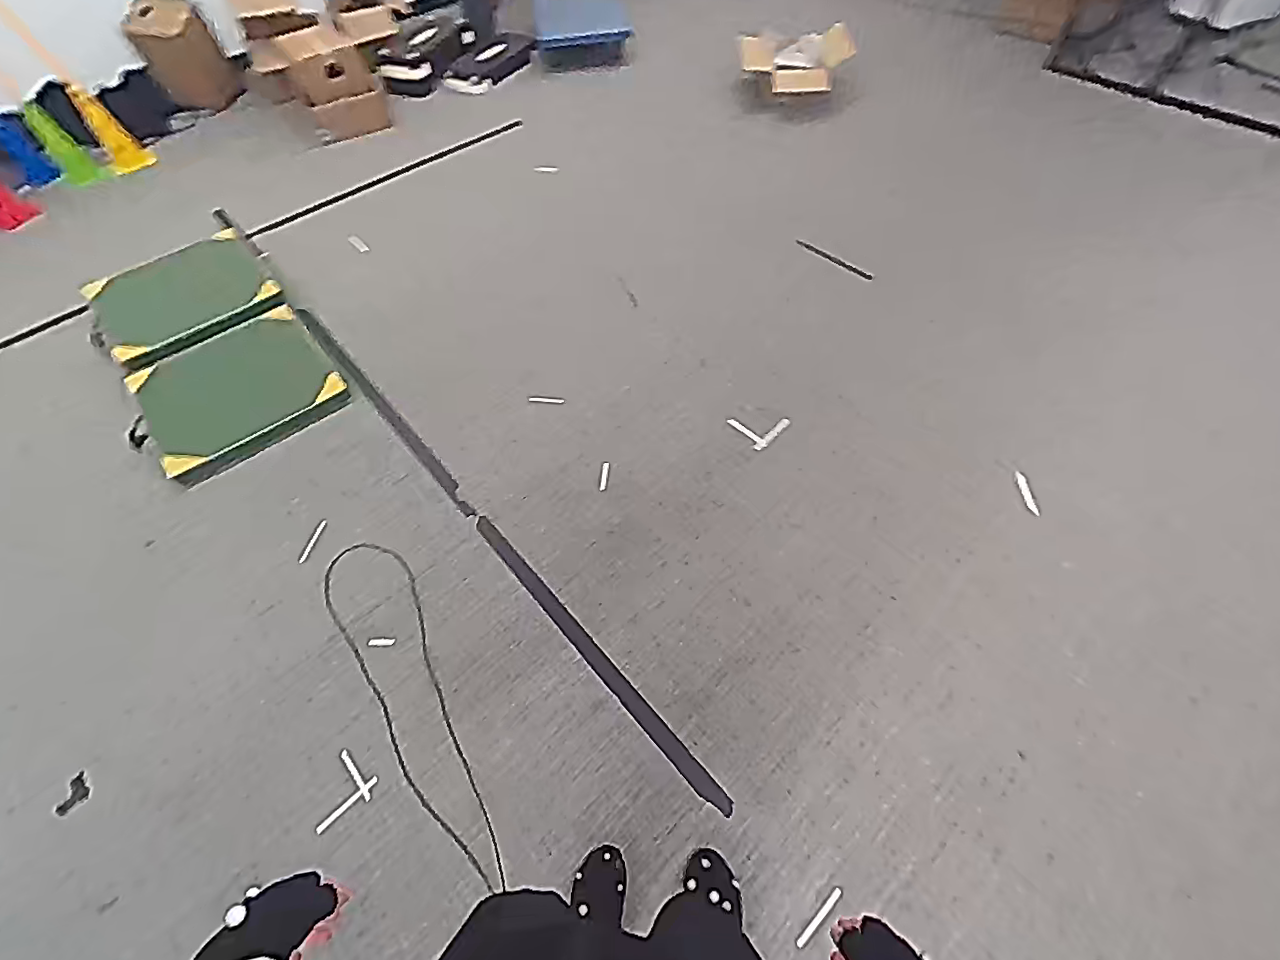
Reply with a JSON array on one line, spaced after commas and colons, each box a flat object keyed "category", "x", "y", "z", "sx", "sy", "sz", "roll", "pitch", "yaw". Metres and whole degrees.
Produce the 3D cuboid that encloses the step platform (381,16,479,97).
[{"category": "step platform", "x": -1.301, "y": -2.660, "z": 3.378, "sx": 0.286, "sy": 0.204, "sz": 0.684, "roll": 16, "pitch": 59, "yaw": 11}]
